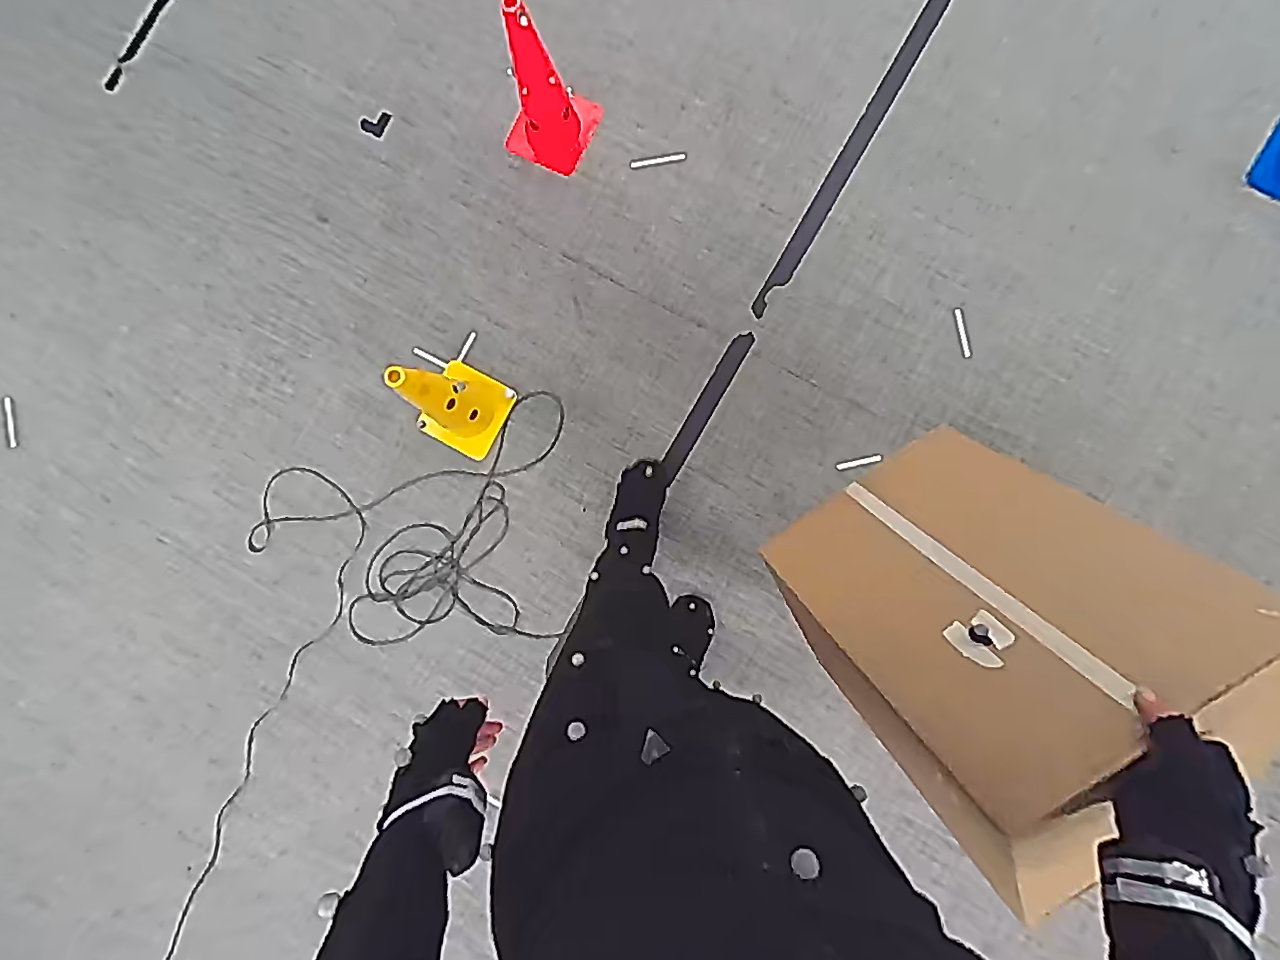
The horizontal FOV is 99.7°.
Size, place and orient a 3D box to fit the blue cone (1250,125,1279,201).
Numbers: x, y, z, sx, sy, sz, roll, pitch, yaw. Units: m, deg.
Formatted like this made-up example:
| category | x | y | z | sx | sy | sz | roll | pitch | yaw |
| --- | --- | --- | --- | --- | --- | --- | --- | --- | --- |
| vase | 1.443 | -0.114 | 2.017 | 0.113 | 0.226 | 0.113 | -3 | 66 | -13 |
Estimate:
| category | x | y | z | sx | sy | sz | roll | pitch | yaw |
| --- | --- | --- | --- | --- | --- | --- | --- | --- | --- |
| blue cone | 1.533 | -0.734 | 1.096 | 0.192 | 0.380 | 0.193 | 32 | 90 | 4 |

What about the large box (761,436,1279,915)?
| category | x | y | z | sx | sy | sz | roll | pitch | yaw |
| --- | --- | --- | --- | --- | --- | --- | --- | --- | --- |
| large box | 0.422 | 0.213 | 0.680 | 0.320 | 0.408 | 0.320 | -34 | 126 | 0 |

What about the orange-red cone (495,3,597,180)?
| category | x | y | z | sx | sy | sz | roll | pitch | yaw |
| --- | --- | --- | --- | --- | --- | --- | --- | --- | --- |
| orange-red cone | -0.245 | -0.891 | 1.214 | 0.198 | 0.360 | 0.199 | 26 | 91 | 6 |
